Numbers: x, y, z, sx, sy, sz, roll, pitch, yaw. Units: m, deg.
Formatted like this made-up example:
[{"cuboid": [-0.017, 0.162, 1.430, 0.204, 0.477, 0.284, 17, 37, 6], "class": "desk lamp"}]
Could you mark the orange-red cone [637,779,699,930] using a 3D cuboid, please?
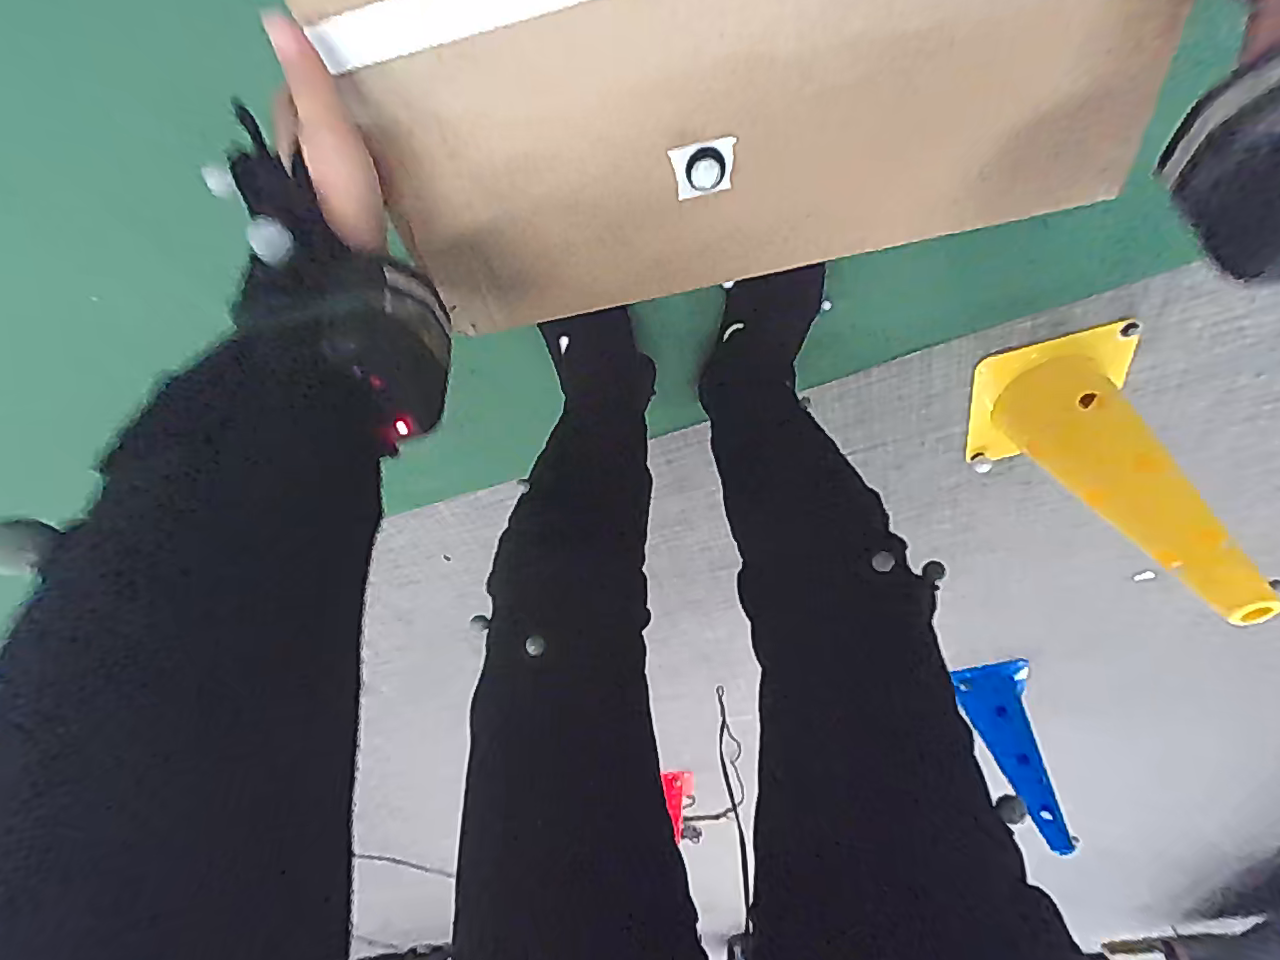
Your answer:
[{"cuboid": [0.087, 1.124, 1.630, 0.199, 0.360, 0.198, -1, 131, 2], "class": "orange-red cone"}]

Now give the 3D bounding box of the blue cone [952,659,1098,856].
[{"cuboid": [0.865, 0.609, 1.198, 0.192, 0.380, 0.193, -17, 130, 13], "class": "blue cone"}]
